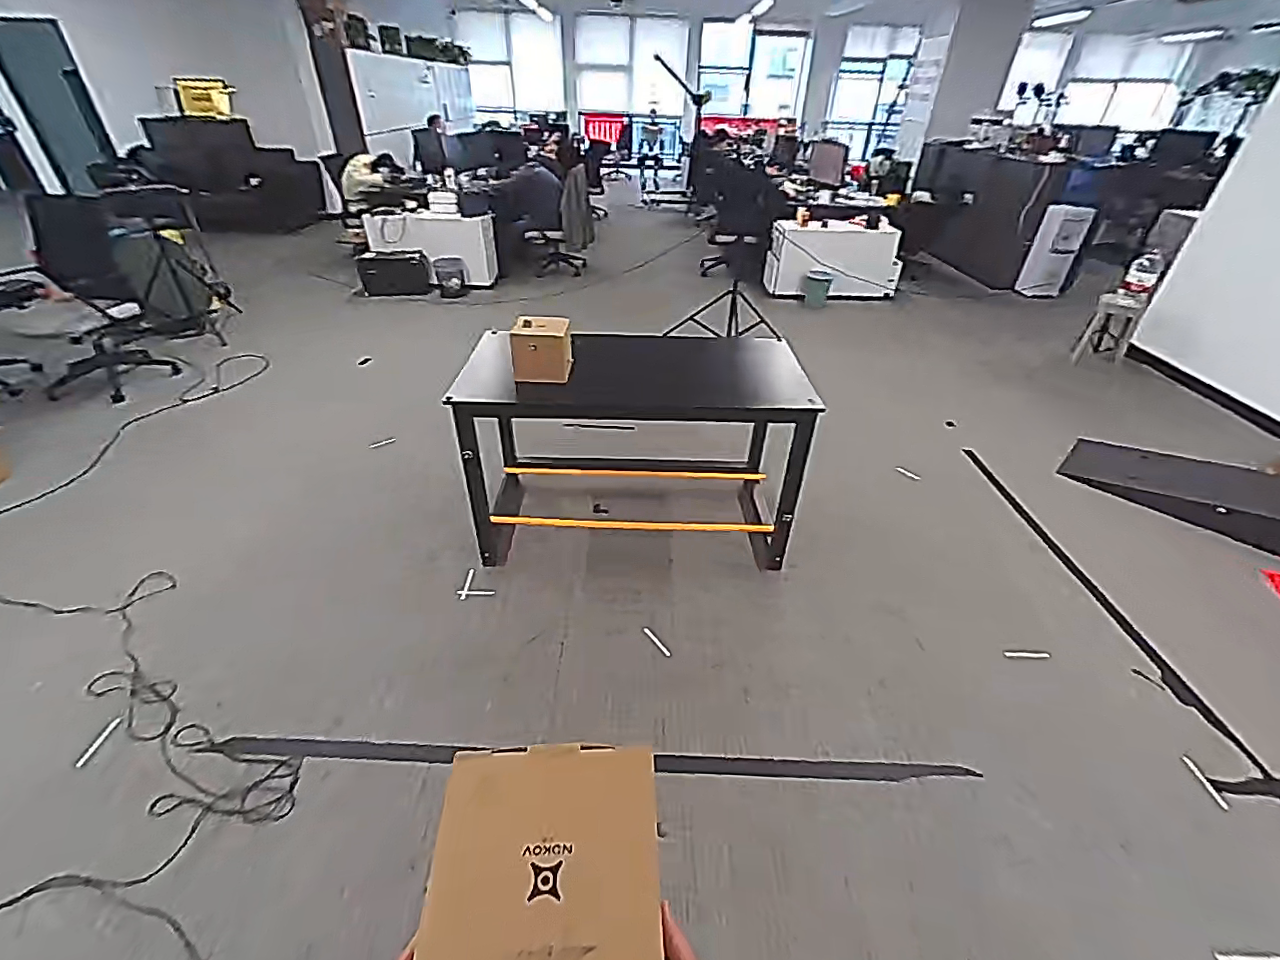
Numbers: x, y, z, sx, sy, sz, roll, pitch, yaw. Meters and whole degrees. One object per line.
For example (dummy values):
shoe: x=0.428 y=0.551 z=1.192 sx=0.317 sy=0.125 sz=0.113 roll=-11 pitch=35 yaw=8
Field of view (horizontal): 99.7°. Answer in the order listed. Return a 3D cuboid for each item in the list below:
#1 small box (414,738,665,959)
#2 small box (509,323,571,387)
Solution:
small box: x=-0.069 y=0.337 z=0.444 sx=0.168 sy=0.176 sz=0.179 roll=-2 pitch=43 yaw=-3
small box: x=-0.334 y=-0.426 z=1.842 sx=0.179 sy=0.176 sz=0.168 roll=2 pitch=35 yaw=0
